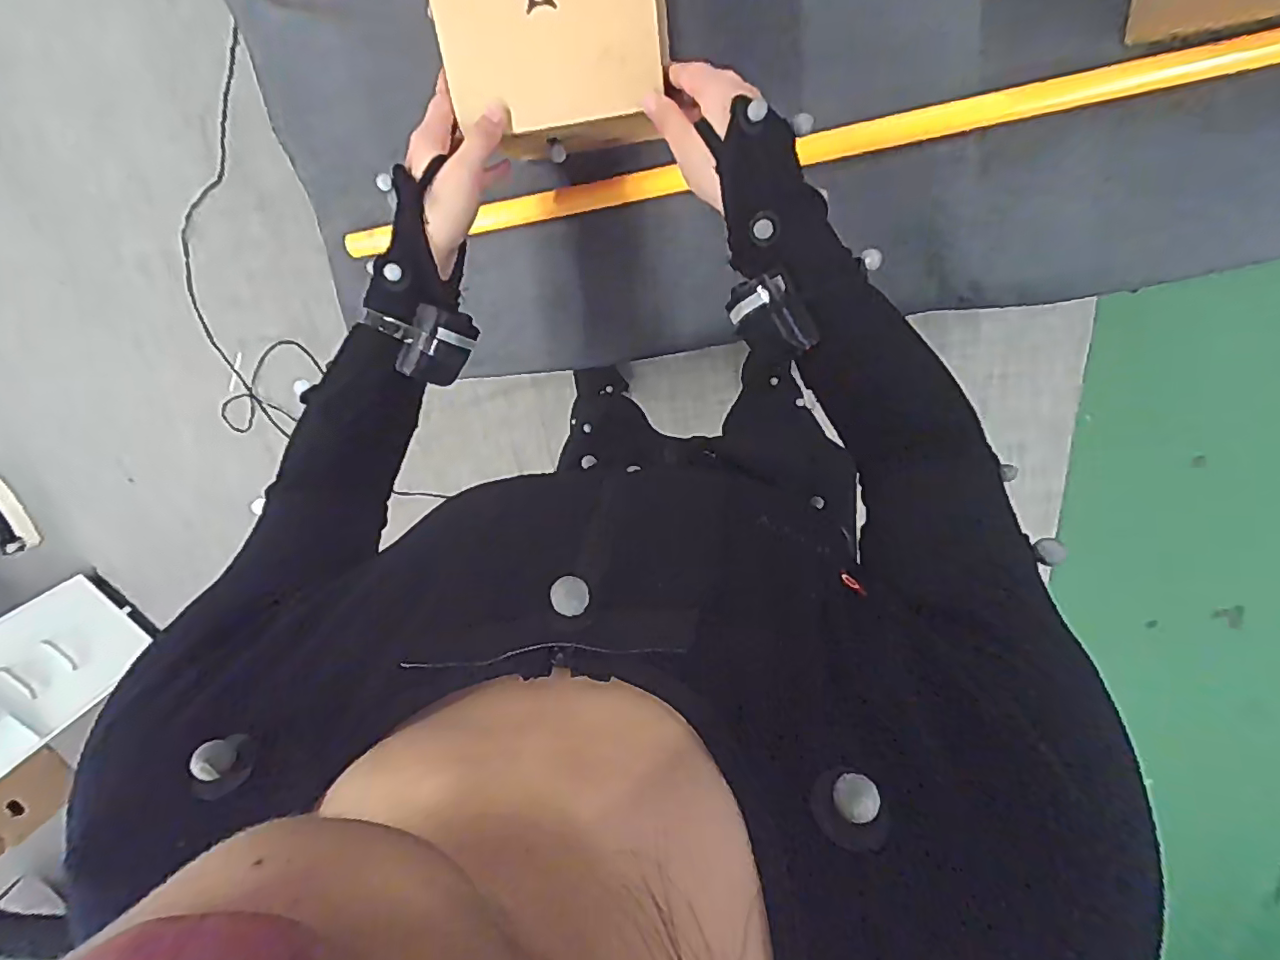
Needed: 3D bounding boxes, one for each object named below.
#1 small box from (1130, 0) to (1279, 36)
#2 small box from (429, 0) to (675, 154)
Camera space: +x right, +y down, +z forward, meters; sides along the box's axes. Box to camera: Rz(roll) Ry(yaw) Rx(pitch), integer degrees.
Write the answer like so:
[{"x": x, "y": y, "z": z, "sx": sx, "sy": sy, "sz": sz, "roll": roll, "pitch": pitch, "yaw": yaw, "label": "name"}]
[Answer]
[{"x": 0.476, "y": -0.422, "z": 0.351, "sx": 0.168, "sy": 0.176, "sz": 0.179, "roll": -2, "pitch": 116, "yaw": 11, "label": "small box"}, {"x": -0.062, "y": -0.384, "z": 0.451, "sx": 0.168, "sy": 0.176, "sz": 0.179, "roll": -4, "pitch": 115, "yaw": 9, "label": "small box"}]
